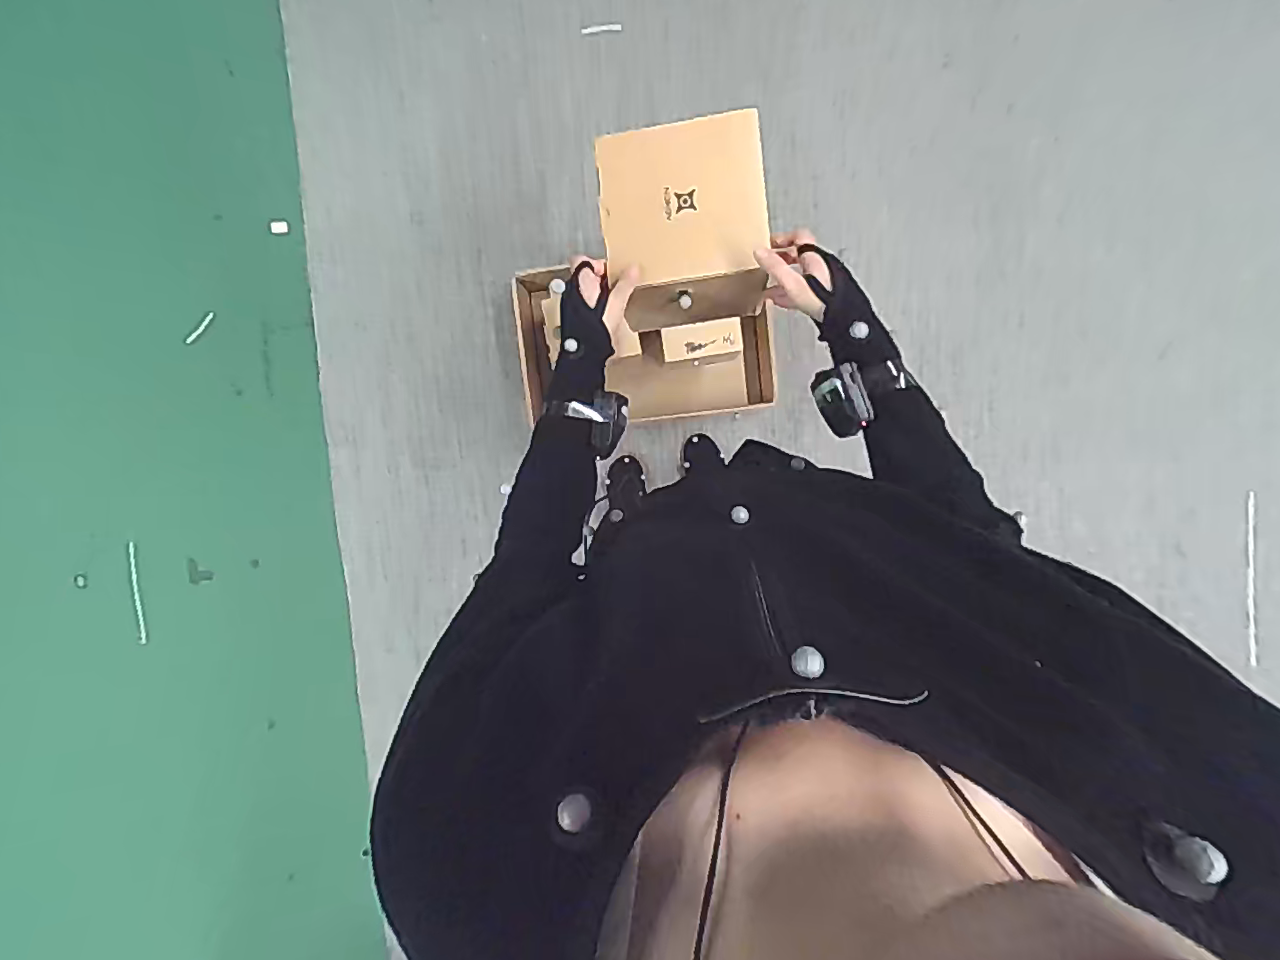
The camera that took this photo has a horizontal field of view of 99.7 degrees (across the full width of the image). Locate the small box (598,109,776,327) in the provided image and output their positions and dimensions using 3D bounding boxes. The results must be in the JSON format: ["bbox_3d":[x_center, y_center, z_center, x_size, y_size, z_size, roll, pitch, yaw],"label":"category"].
[{"bbox_3d":[0.060,-0.291,0.642,0.179,0.176,0.168,-5,90,11],"label":"small box"}]

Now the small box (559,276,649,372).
[{"bbox_3d":[-0.074,-0.343,1.212,0.168,0.176,0.179,-11,96,2],"label":"small box"}]

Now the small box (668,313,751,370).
[{"bbox_3d":[0.144,-0.351,1.193,0.168,0.176,0.179,-8,94,6],"label":"small box"}]

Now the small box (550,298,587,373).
[{"bbox_3d":[-0.115,-0.371,1.375,0.179,0.176,0.168,-9,96,3],"label":"small box"}]
